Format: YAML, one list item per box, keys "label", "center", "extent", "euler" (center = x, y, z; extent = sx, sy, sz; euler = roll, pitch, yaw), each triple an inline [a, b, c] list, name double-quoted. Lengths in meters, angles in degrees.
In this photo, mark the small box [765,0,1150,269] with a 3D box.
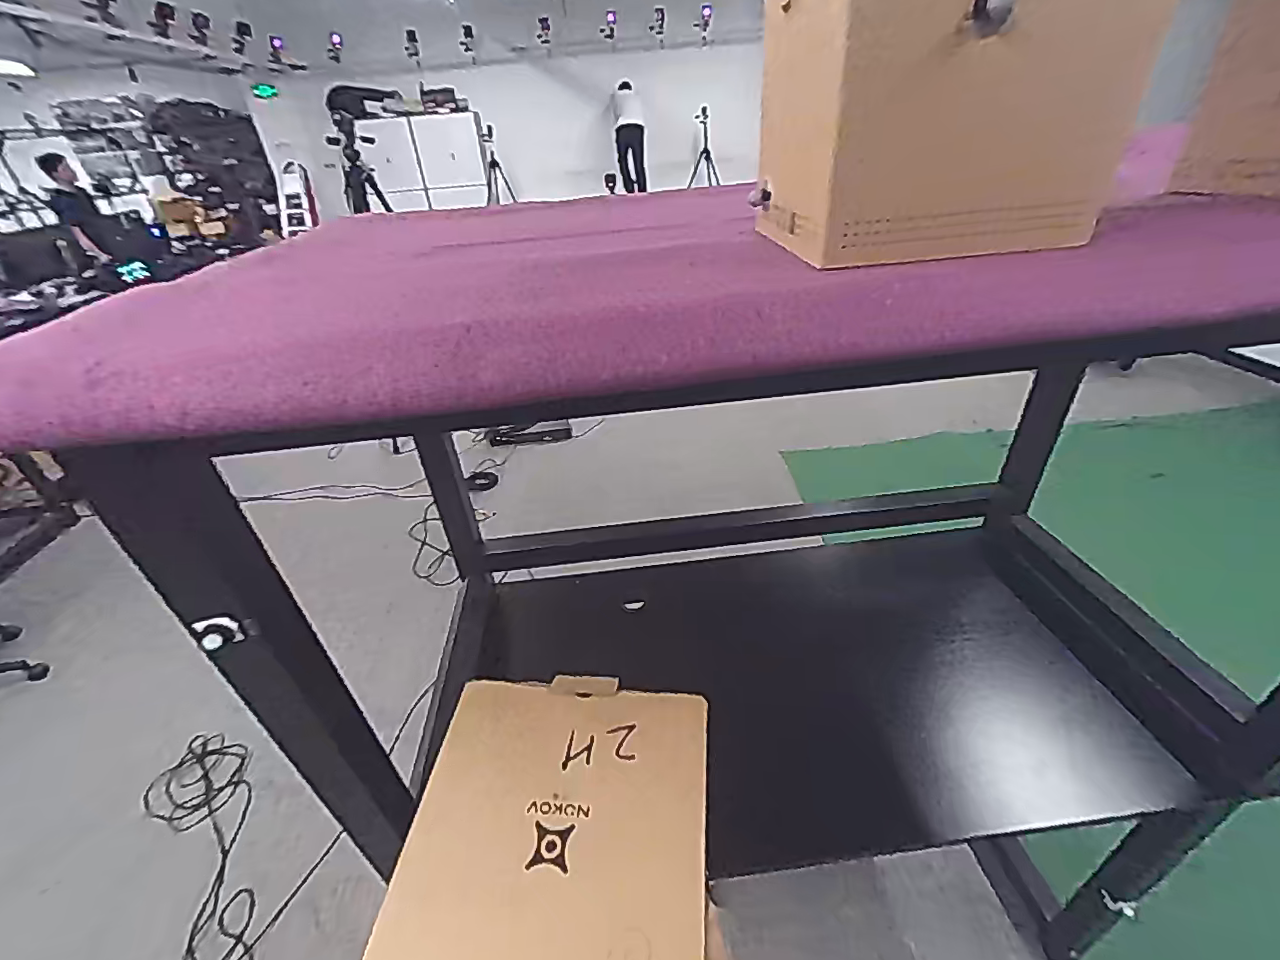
- label: "small box"
  center: [0.188, -0.249, 0.368]
  extent: [0.179, 0.176, 0.168]
  euler: [-5, 34, -2]
